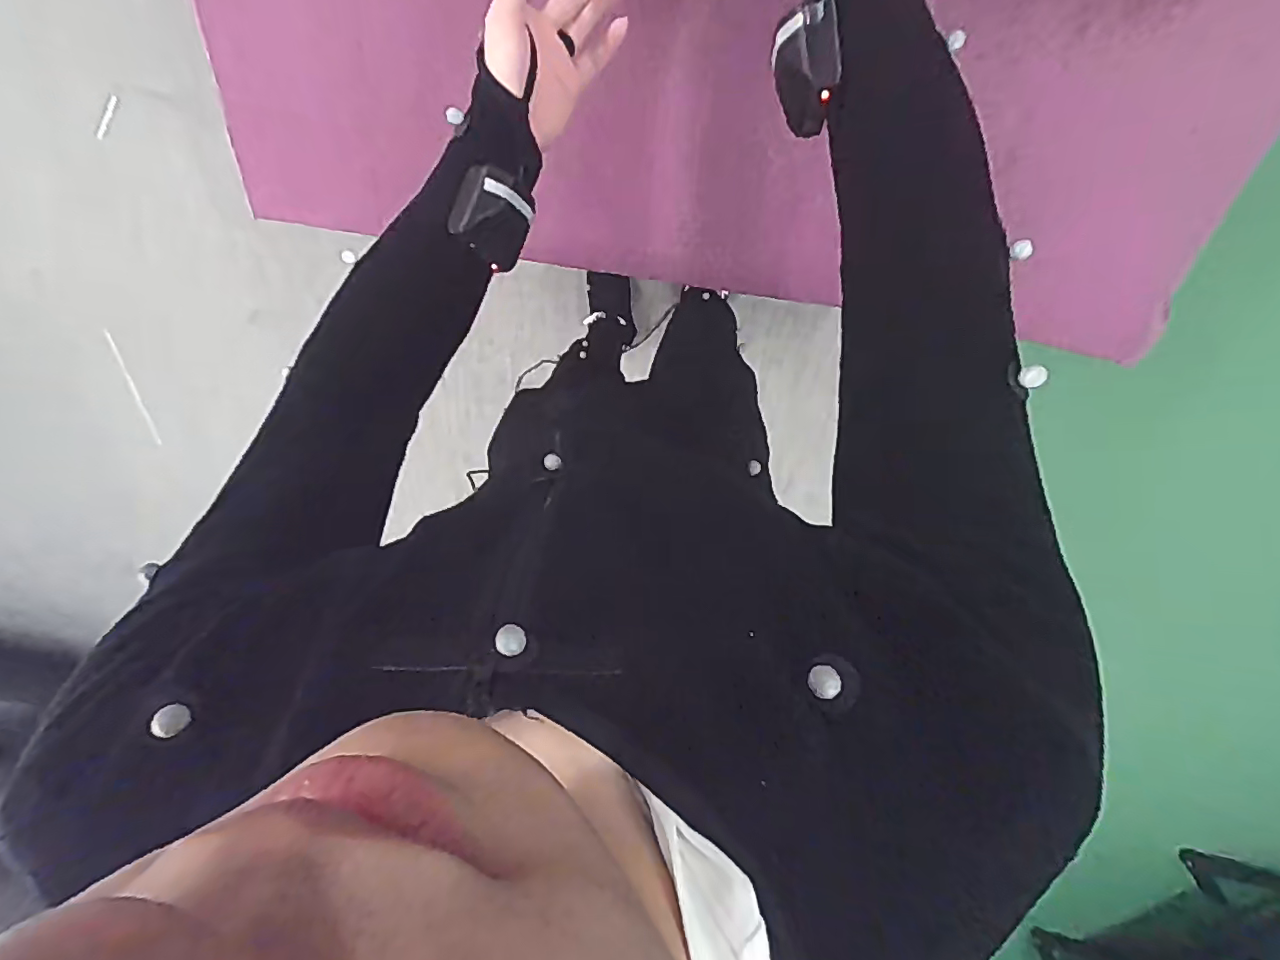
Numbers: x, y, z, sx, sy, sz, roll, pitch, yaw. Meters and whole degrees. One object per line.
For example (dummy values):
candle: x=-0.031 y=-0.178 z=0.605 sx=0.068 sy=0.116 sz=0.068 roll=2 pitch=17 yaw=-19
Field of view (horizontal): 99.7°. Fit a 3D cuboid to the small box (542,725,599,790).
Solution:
small box: x=-0.294 y=1.171 z=2.296 sx=0.179 sy=0.176 sz=0.168 roll=21 pitch=126 yaw=-2
